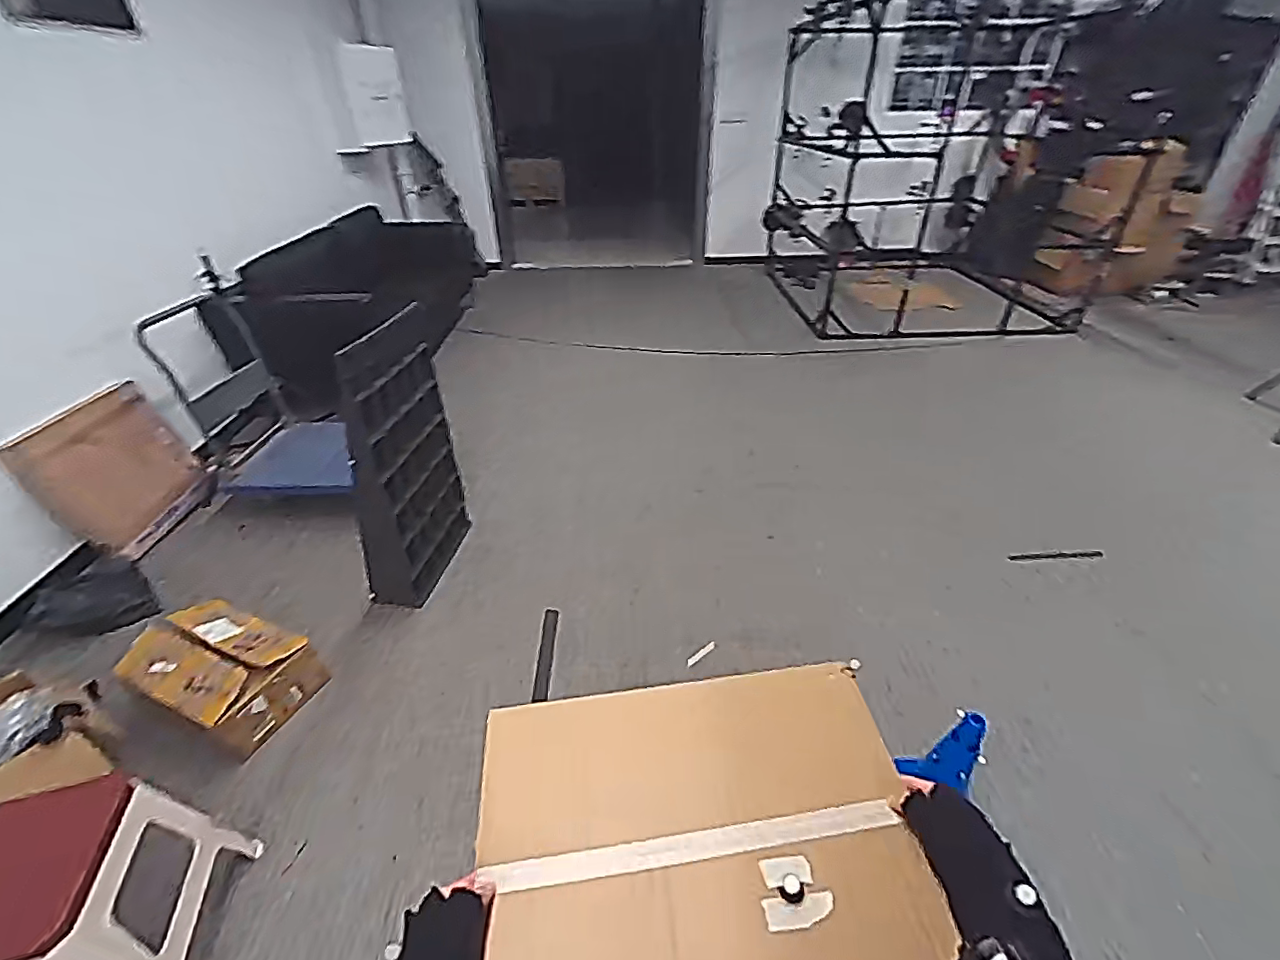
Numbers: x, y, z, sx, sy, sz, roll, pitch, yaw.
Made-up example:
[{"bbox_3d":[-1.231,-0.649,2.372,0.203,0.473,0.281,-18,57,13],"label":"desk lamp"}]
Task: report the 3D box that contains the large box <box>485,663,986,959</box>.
[{"bbox_3d":[0.066,0.443,0.591,0.408,0.320,0.320,-5,41,-4],"label":"large box"}]
